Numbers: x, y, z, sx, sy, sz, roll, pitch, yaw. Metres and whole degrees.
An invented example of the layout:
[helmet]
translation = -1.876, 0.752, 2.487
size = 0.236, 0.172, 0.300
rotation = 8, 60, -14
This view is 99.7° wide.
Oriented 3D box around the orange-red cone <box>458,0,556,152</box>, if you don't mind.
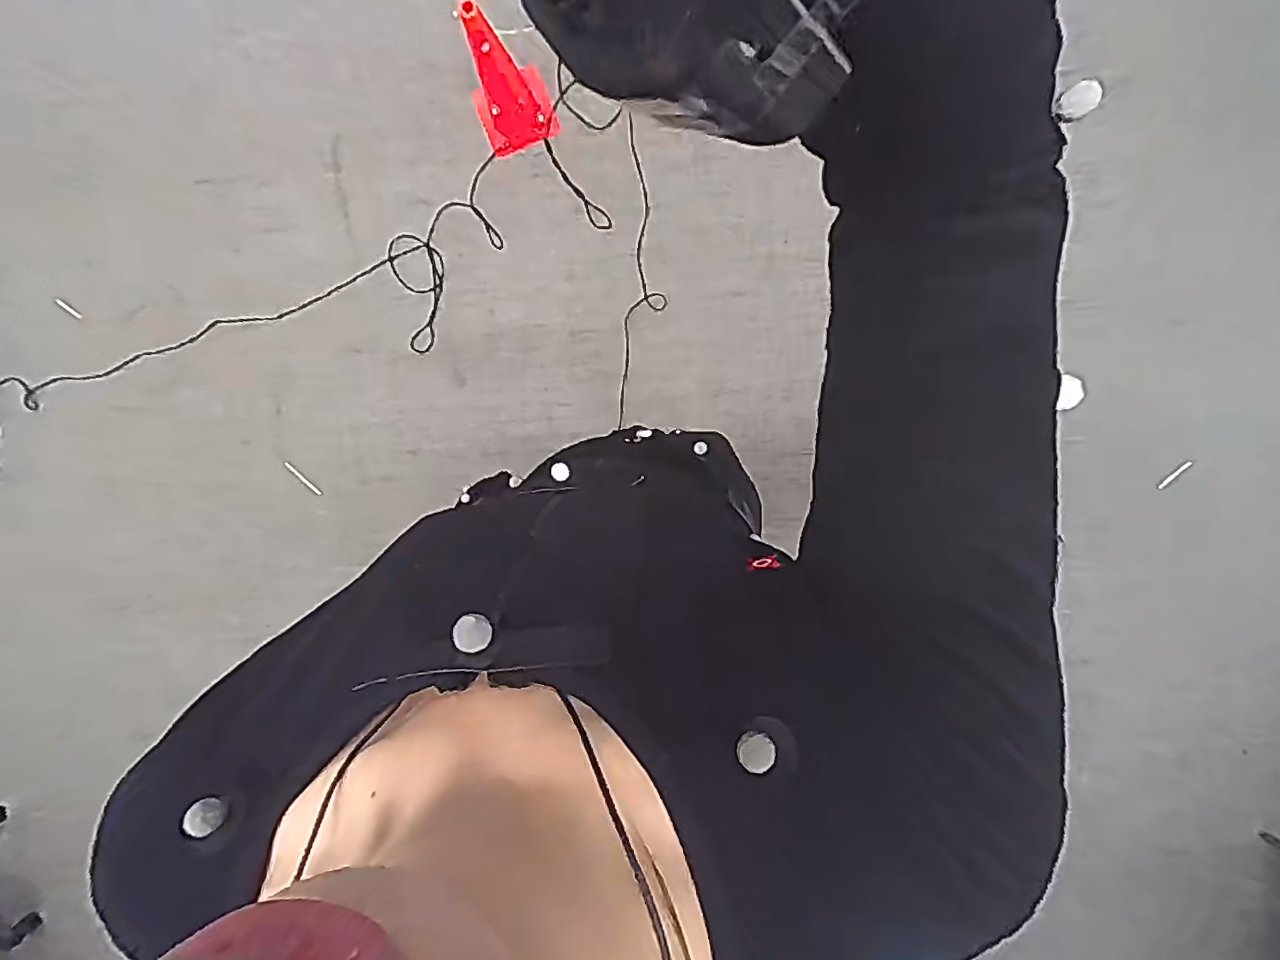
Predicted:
[orange-red cone]
translation = -0.356, -1.015, 1.313
size = 0.198, 0.360, 0.199
rotation = -21, 90, 4
